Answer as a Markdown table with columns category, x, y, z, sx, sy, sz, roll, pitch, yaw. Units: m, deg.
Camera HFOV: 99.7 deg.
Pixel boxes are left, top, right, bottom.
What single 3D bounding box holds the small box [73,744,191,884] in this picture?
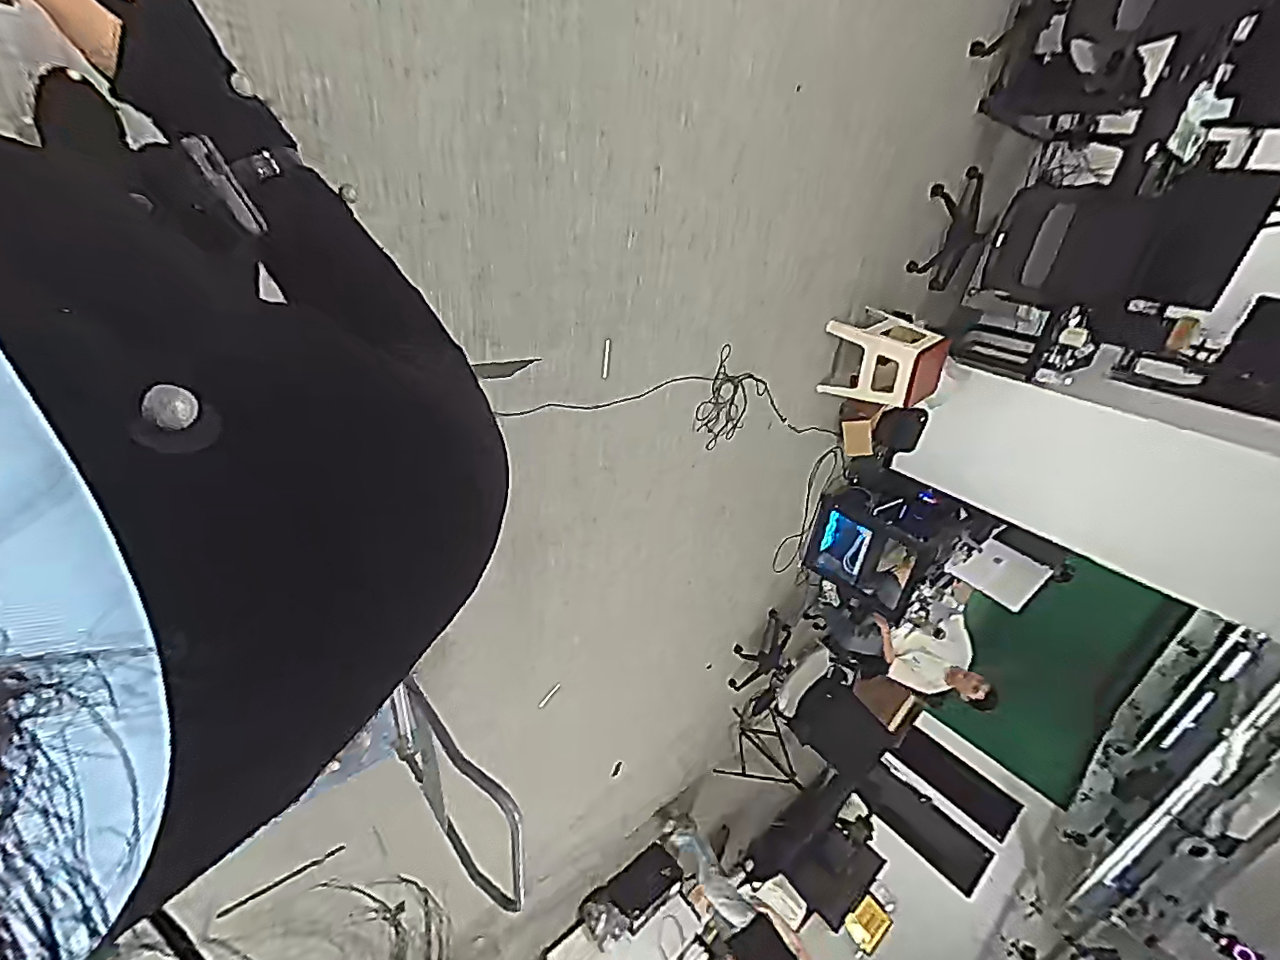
| category | x | y | z | sx | sy | sz | roll | pitch | yaw |
| --- | --- | --- | --- | --- | --- | --- | --- | --- | --- |
| small box | -1.153 | 0.751 | 1.232 | 0.168 | 0.176 | 0.179 | -14 | 125 | -40 |
